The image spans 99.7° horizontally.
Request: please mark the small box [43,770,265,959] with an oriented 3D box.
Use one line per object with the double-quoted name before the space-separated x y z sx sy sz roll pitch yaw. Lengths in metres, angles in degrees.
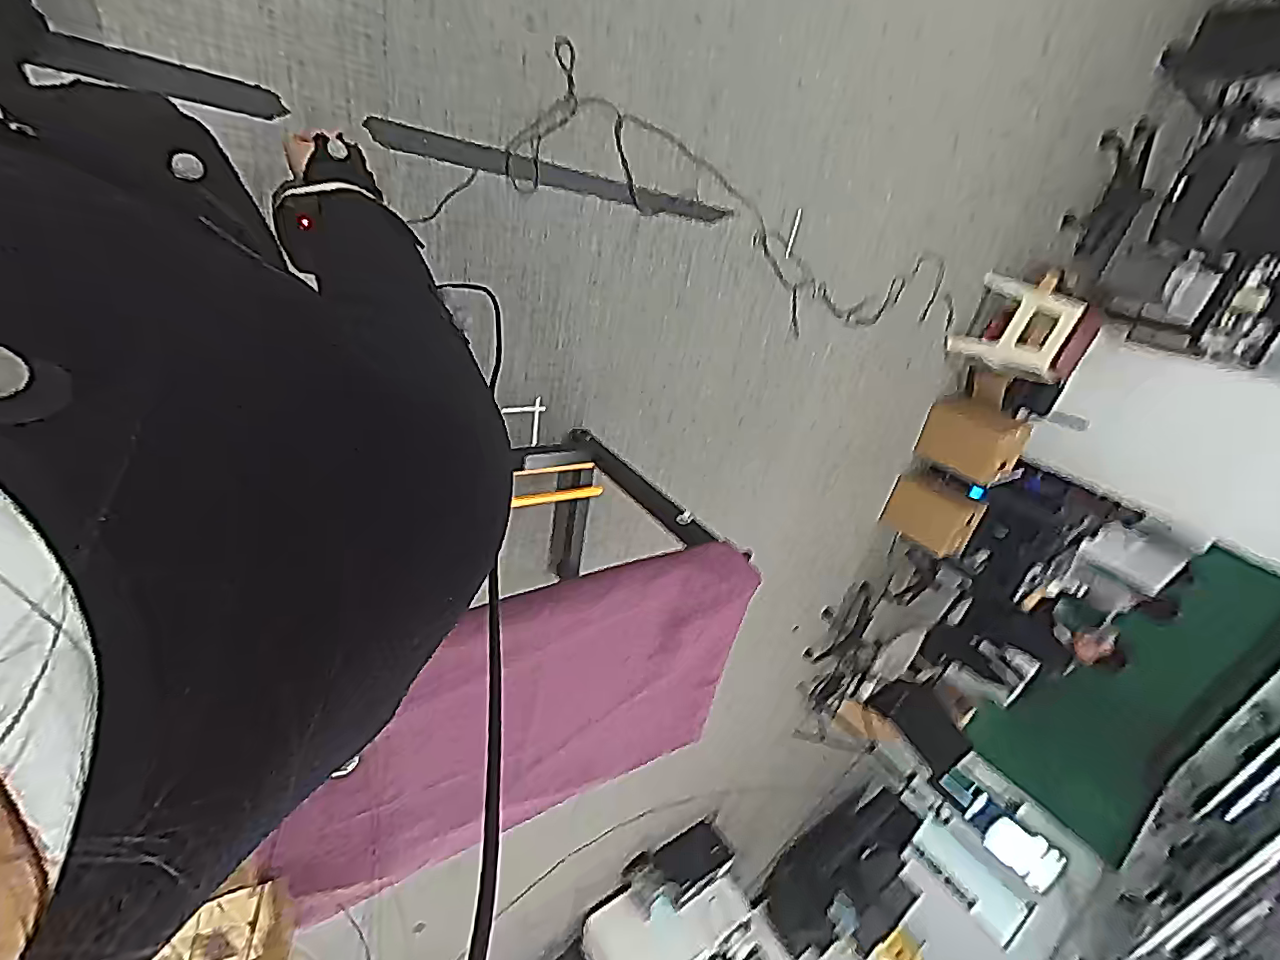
"small box" -0.569 0.492 0.649 0.179 0.176 0.168 -6 123 -37
